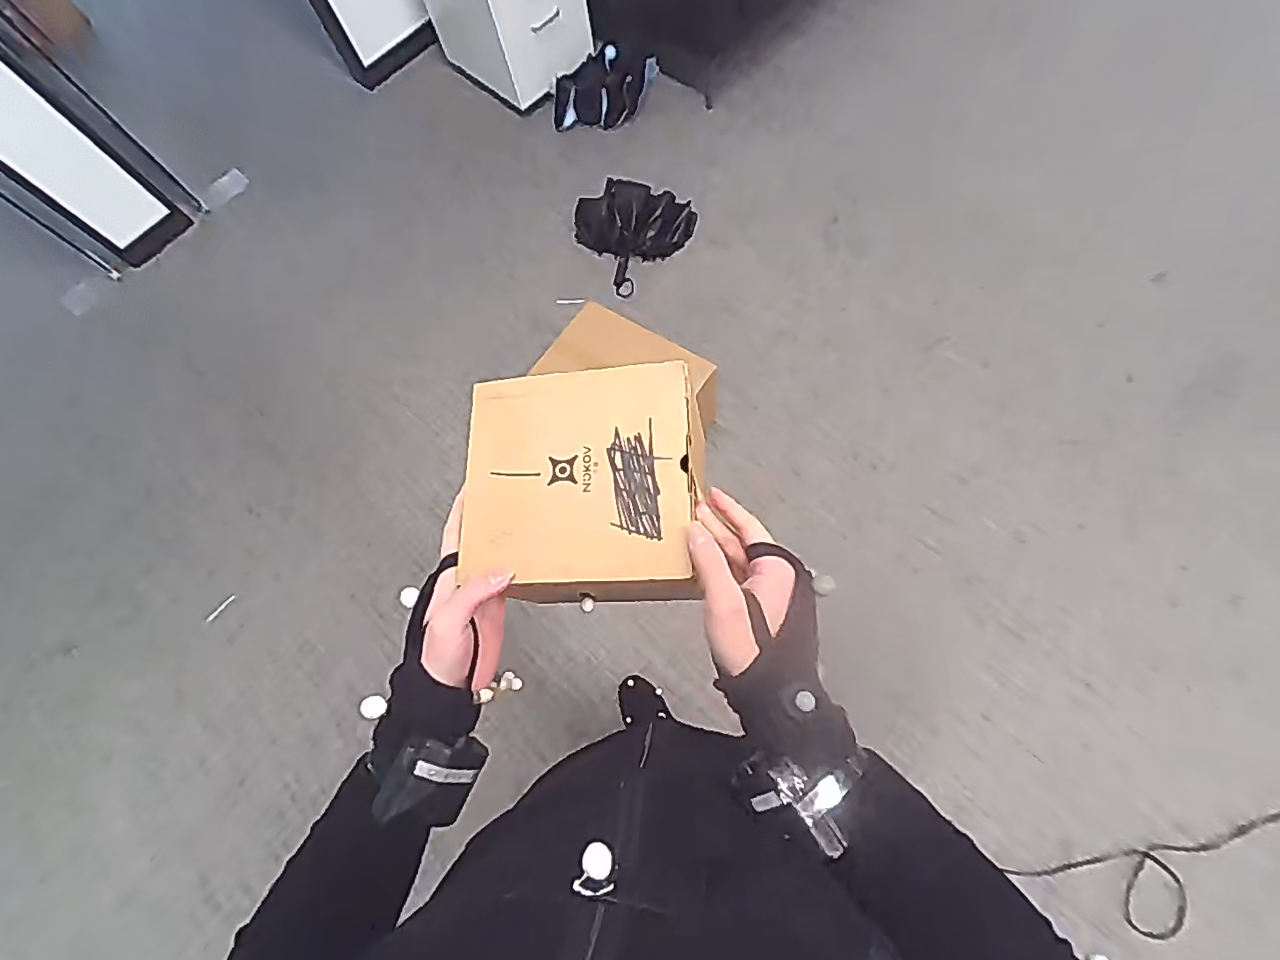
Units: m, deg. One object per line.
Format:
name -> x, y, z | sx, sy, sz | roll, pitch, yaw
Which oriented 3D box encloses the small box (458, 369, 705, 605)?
small box -> -0.034, 0.020, 0.479 | 0.179, 0.176, 0.168 | -4, 72, 11
